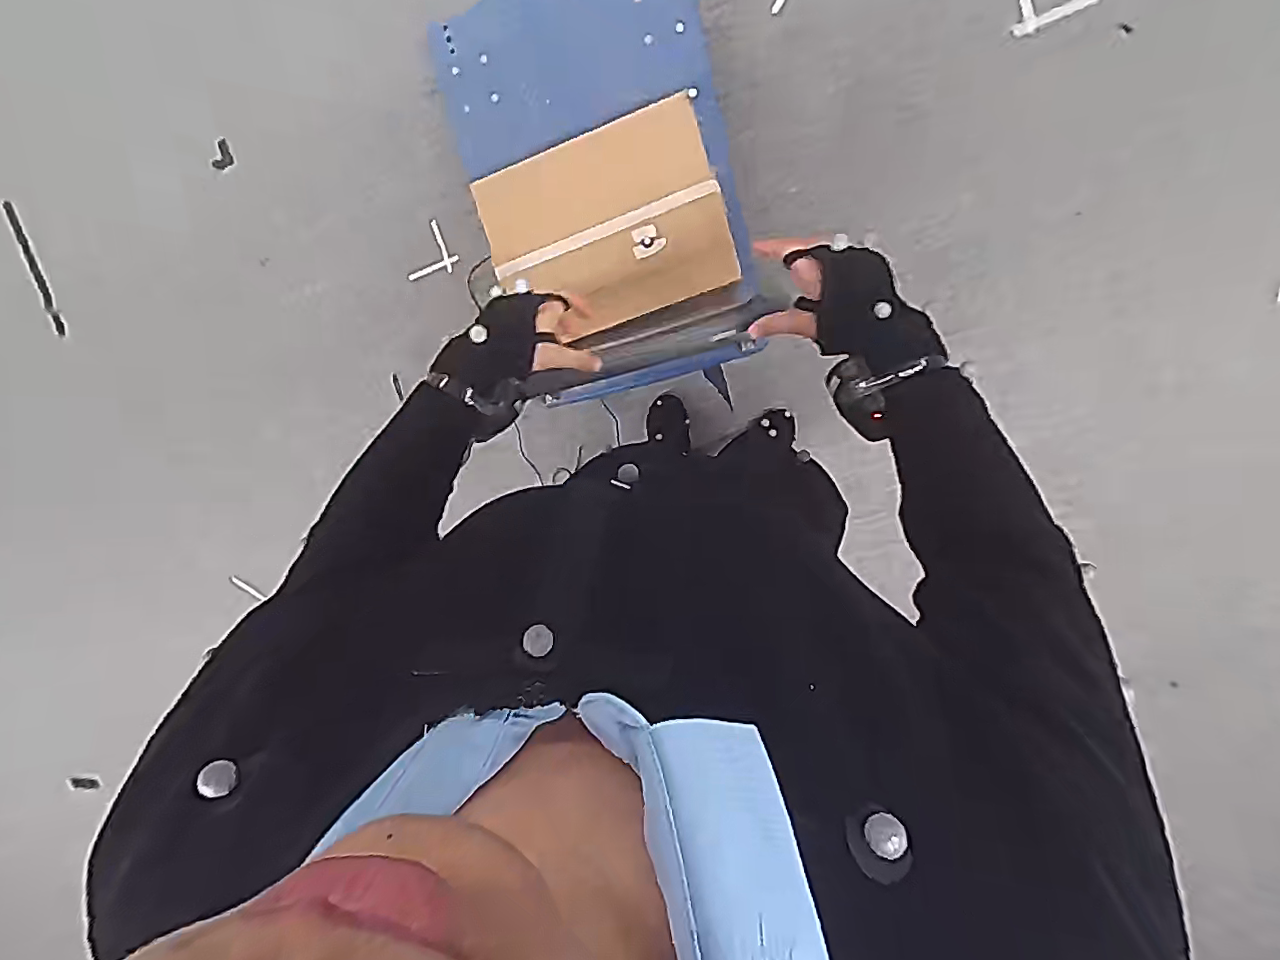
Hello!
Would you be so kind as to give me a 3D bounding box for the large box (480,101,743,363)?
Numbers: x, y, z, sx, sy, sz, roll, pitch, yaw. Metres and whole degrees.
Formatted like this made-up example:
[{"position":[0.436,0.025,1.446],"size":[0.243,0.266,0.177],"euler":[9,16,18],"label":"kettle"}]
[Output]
[{"position":[-0.038,-0.451,1.090],"size":[0.408,0.320,0.320],"euler":[-17,99,9],"label":"large box"}]
